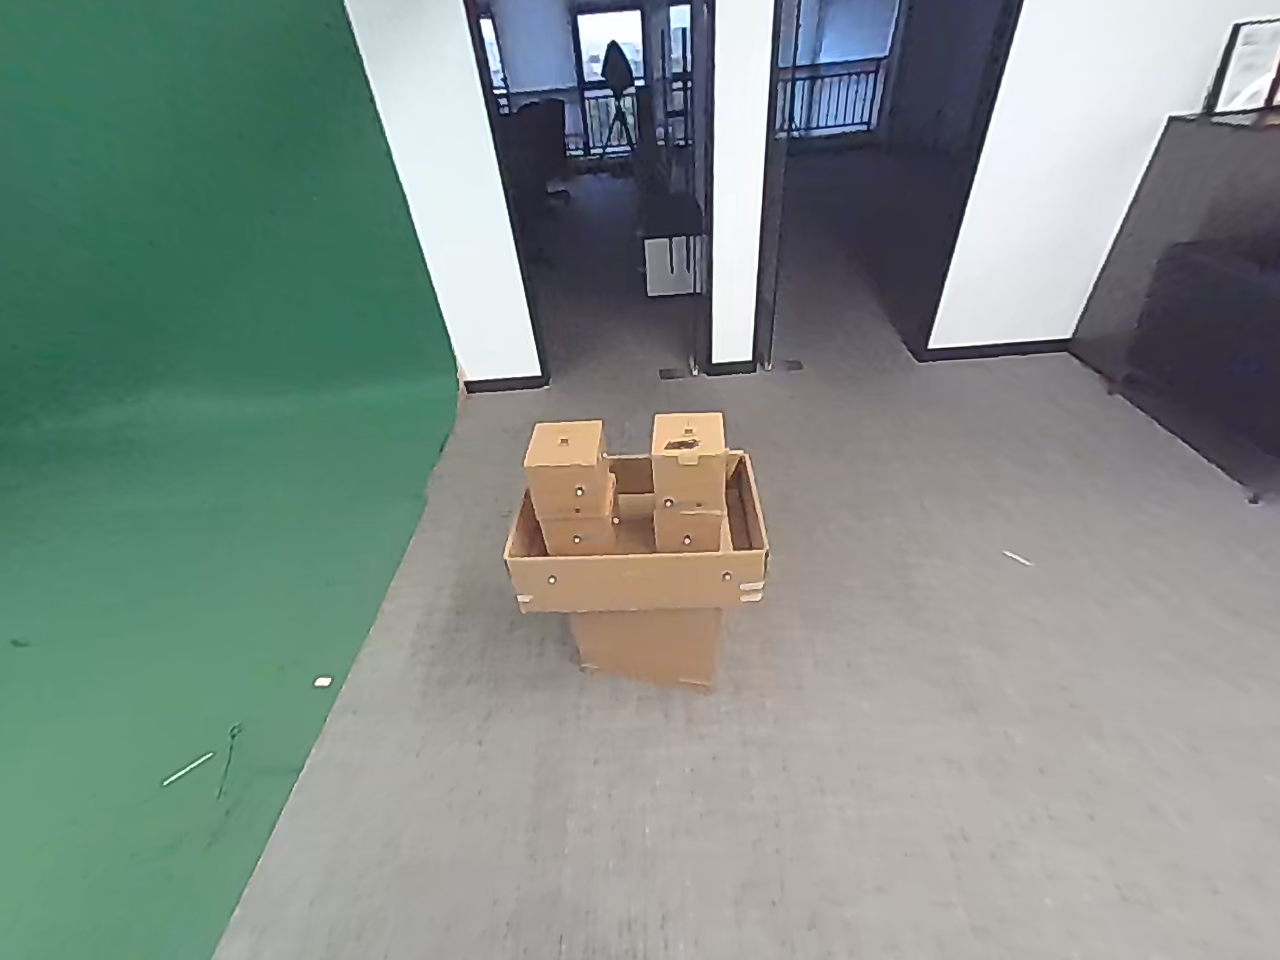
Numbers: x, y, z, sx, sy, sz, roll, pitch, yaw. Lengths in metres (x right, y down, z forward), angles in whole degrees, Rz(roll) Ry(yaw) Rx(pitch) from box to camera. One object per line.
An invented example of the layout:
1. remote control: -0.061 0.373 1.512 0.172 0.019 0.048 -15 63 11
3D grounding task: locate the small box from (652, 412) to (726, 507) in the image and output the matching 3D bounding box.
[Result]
1. small box: 0.122 -0.046 1.304 0.168 0.176 0.179 -1 38 7

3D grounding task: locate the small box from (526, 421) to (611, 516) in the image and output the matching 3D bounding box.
1. small box: -0.164 -0.023 1.317 0.168 0.176 0.179 -2 38 5
